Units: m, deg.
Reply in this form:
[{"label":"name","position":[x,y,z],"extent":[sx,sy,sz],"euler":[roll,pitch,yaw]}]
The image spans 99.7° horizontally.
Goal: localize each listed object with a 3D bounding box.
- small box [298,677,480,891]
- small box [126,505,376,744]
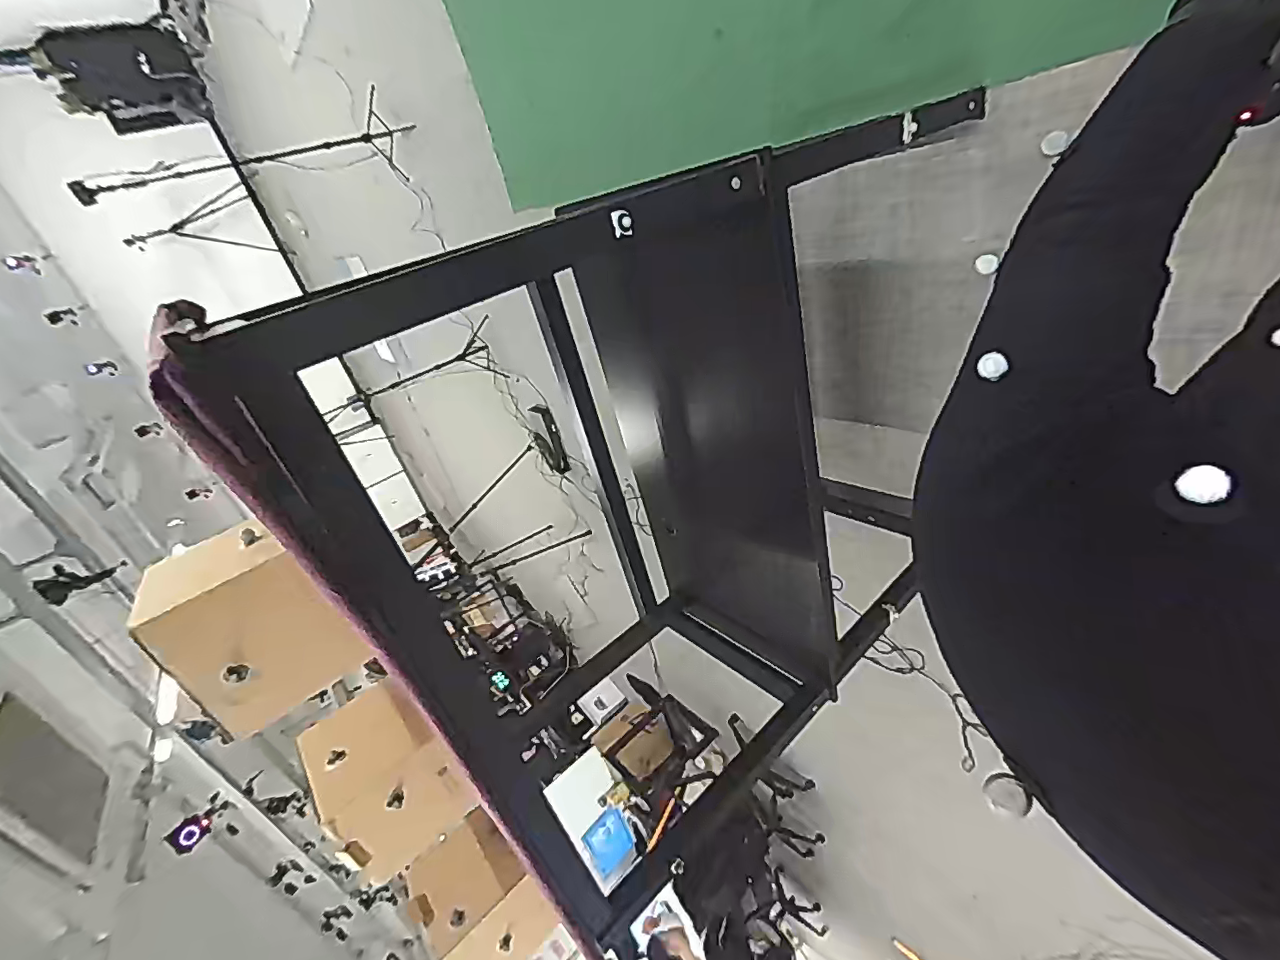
[{"label":"small box","position":[-0.355,0.424,0.784],"extent":[0.179,0.176,0.168],"euler":[23,136,48]},{"label":"small box","position":[-0.444,0.159,0.644],"extent":[0.168,0.176,0.179],"euler":[22,137,51]}]
